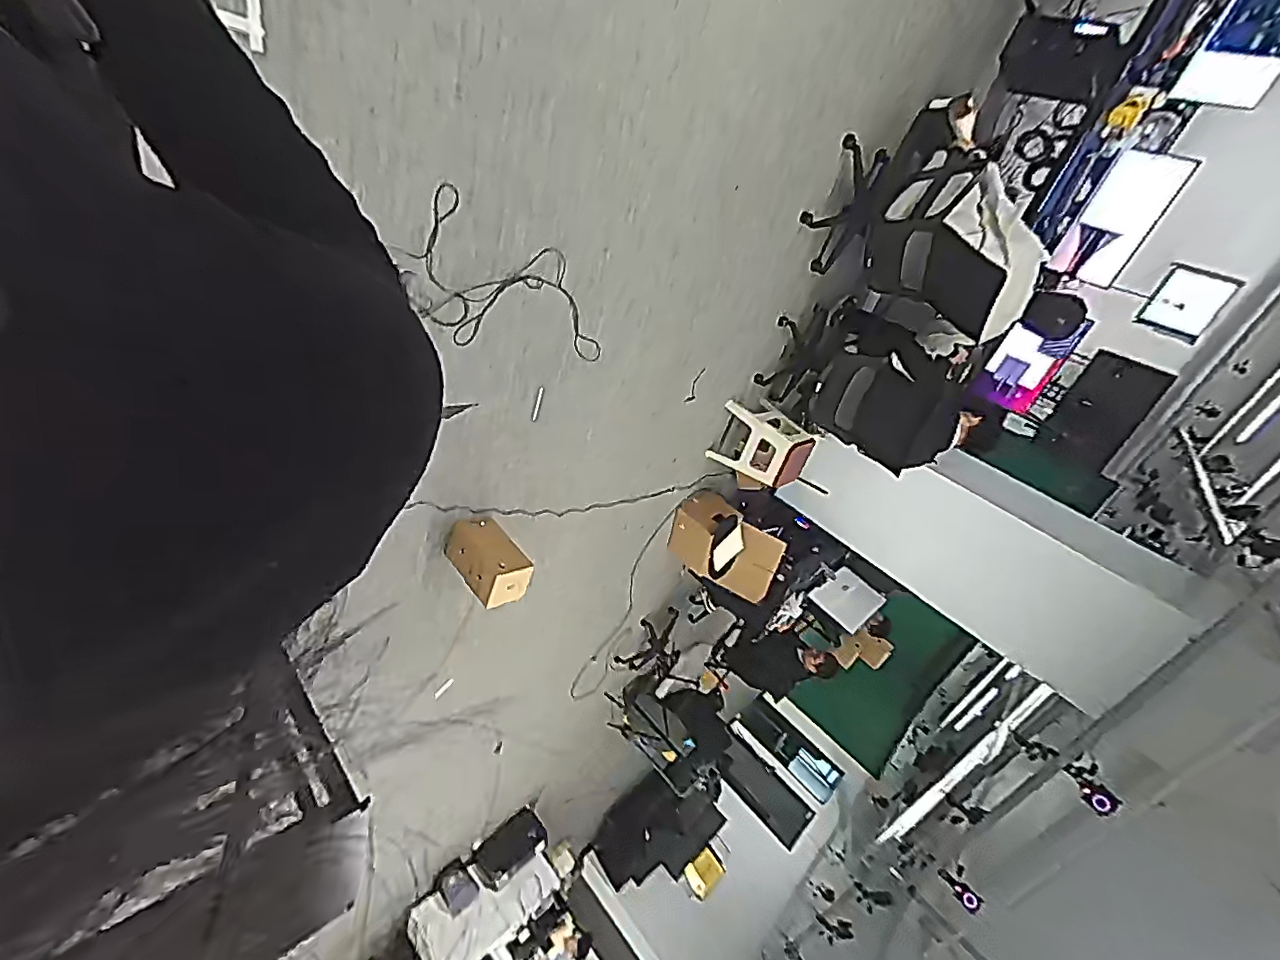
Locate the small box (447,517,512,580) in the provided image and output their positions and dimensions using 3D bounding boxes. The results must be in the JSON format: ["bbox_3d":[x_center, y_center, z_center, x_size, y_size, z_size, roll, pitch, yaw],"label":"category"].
[{"bbox_3d":[-0.652,0.271,2.177,0.168,0.176,0.179,-6,127,-52],"label":"small box"}]

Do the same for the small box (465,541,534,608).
[{"bbox_3d":[-0.545,0.357,2.085,0.179,0.176,0.168,-10,131,-50],"label":"small box"}]
